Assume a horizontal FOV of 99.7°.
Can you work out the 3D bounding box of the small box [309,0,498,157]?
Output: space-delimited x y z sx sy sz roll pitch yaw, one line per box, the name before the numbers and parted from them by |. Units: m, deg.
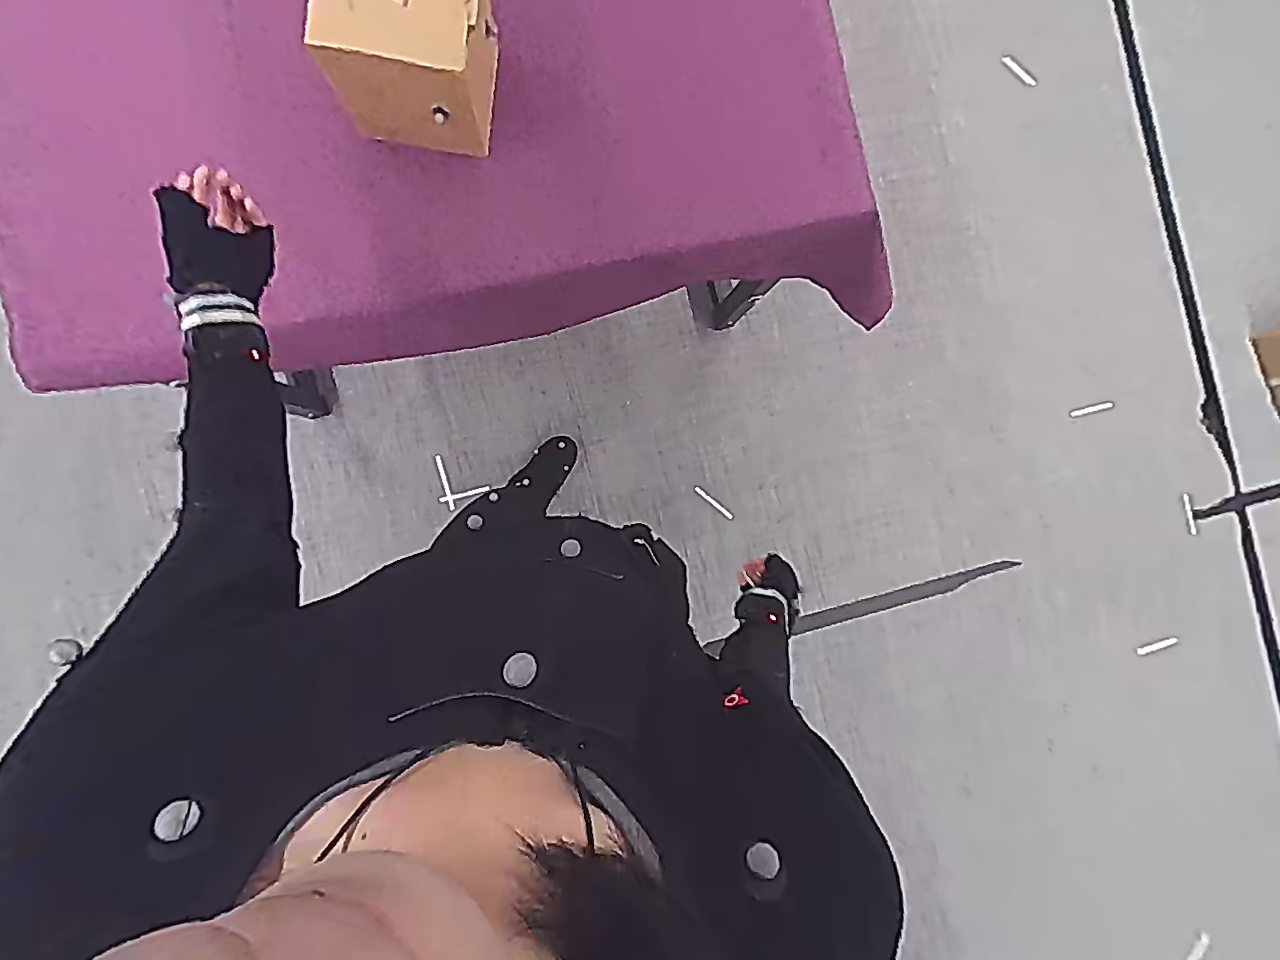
small box | -0.286 -0.550 0.694 0.179 0.176 0.168 5 88 -6
